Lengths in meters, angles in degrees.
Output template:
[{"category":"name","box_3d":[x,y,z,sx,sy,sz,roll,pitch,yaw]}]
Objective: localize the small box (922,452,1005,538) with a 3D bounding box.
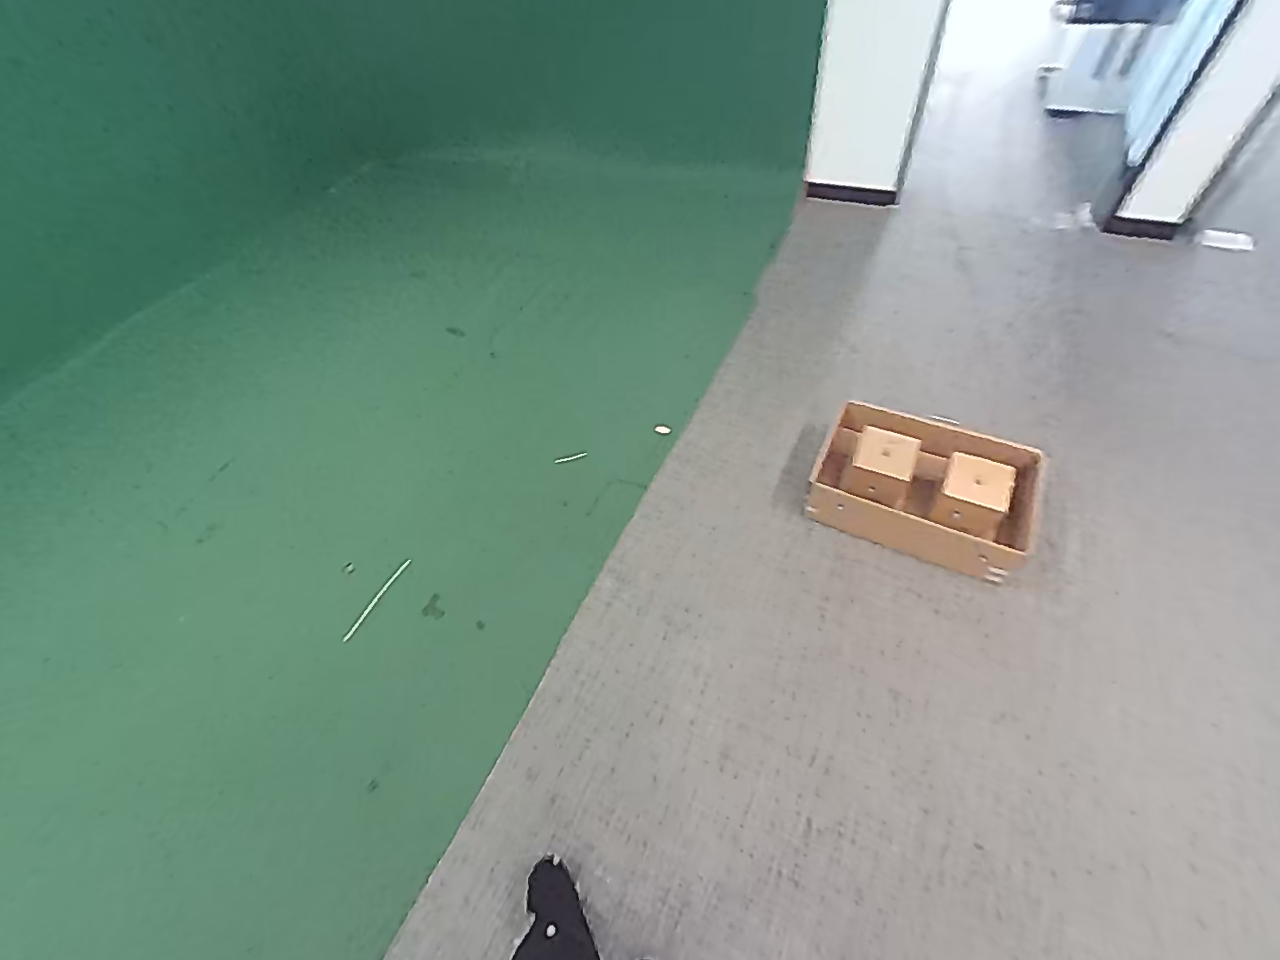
[{"category":"small box","box_3d":[0.987,0.050,1.658,0.168,0.176,0.179,19,59,20]}]

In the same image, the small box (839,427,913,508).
[{"category":"small box","box_3d":[0.755,-0.037,1.746,0.168,0.176,0.179,20,59,18]}]
